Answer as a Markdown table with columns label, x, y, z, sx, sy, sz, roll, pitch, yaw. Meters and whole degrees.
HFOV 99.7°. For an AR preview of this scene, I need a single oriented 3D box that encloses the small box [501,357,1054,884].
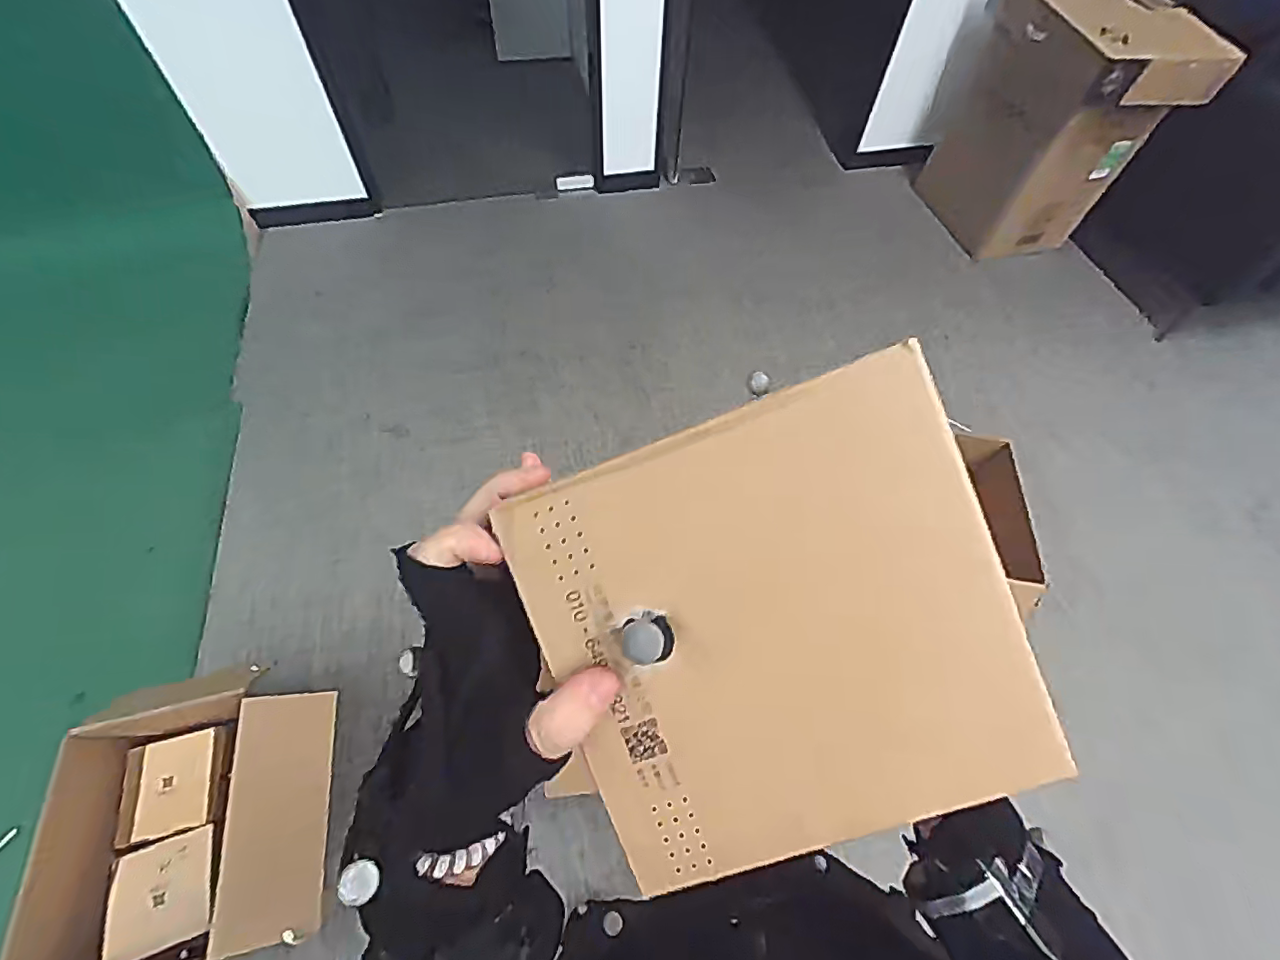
| label | x | y | z | sx | sy | sz | roll | pitch | yaw |
| --- | --- | --- | --- | --- | --- | --- | --- | --- | --- |
| small box | 0.052 | 0.056 | 0.285 | 0.176 | 0.179 | 0.168 | -23 | 92 | 7 |
